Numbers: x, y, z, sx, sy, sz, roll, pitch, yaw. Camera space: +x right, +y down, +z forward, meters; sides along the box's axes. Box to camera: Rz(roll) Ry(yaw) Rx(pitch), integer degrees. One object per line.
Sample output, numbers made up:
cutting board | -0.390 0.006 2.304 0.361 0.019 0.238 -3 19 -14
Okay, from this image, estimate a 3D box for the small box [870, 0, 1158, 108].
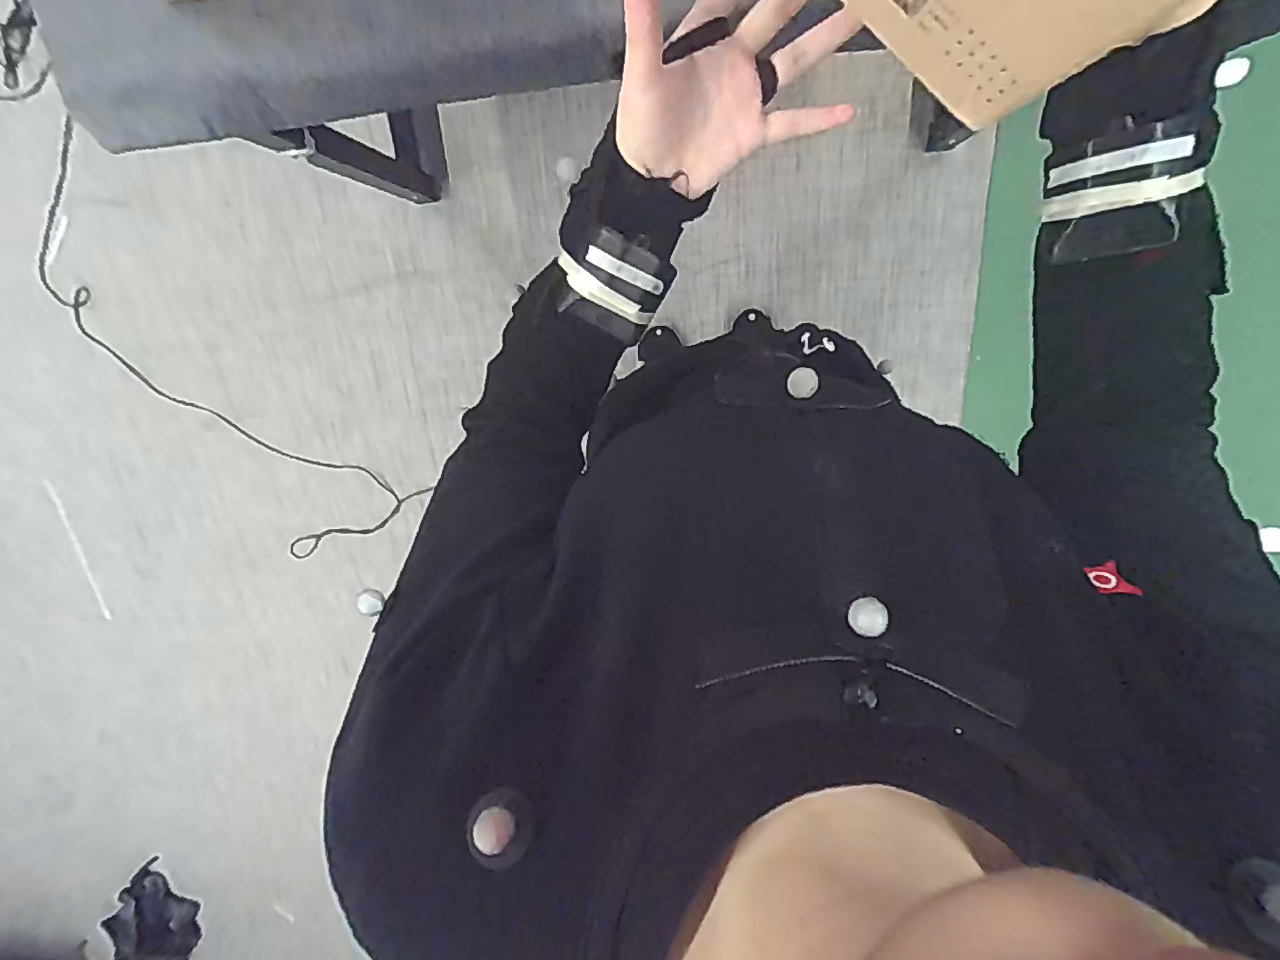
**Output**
small box | 0.138 -0.249 0.133 0.168 0.176 0.179 34 95 -10
